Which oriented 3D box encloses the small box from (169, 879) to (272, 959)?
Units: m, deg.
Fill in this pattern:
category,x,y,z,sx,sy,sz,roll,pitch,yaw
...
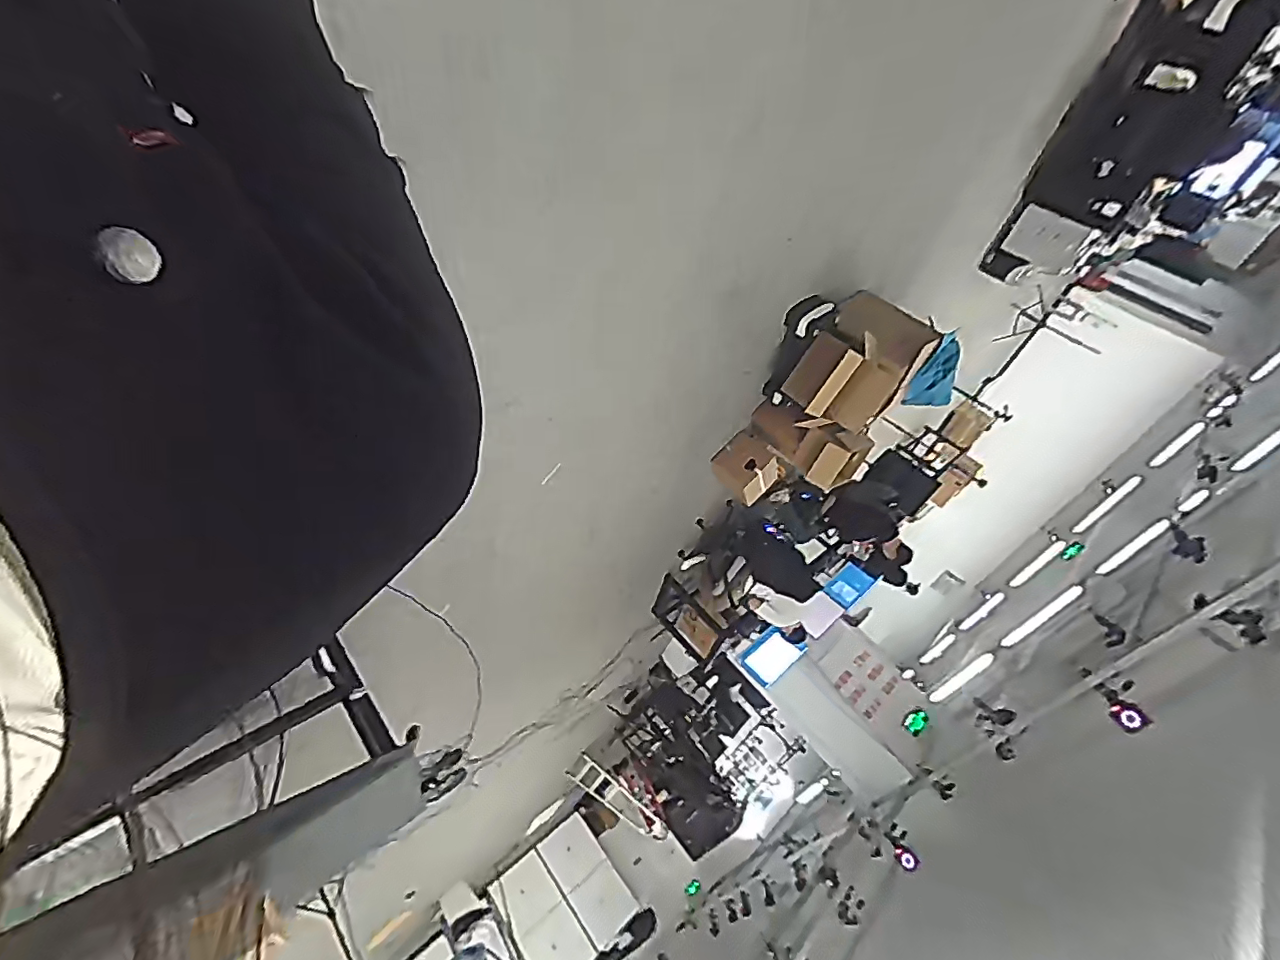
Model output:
category,x,y,z,sx,sy,sz,roll,pitch,yaw
small box,-1.130,1.232,1.455,0.179,0.176,0.168,-23,147,-37
